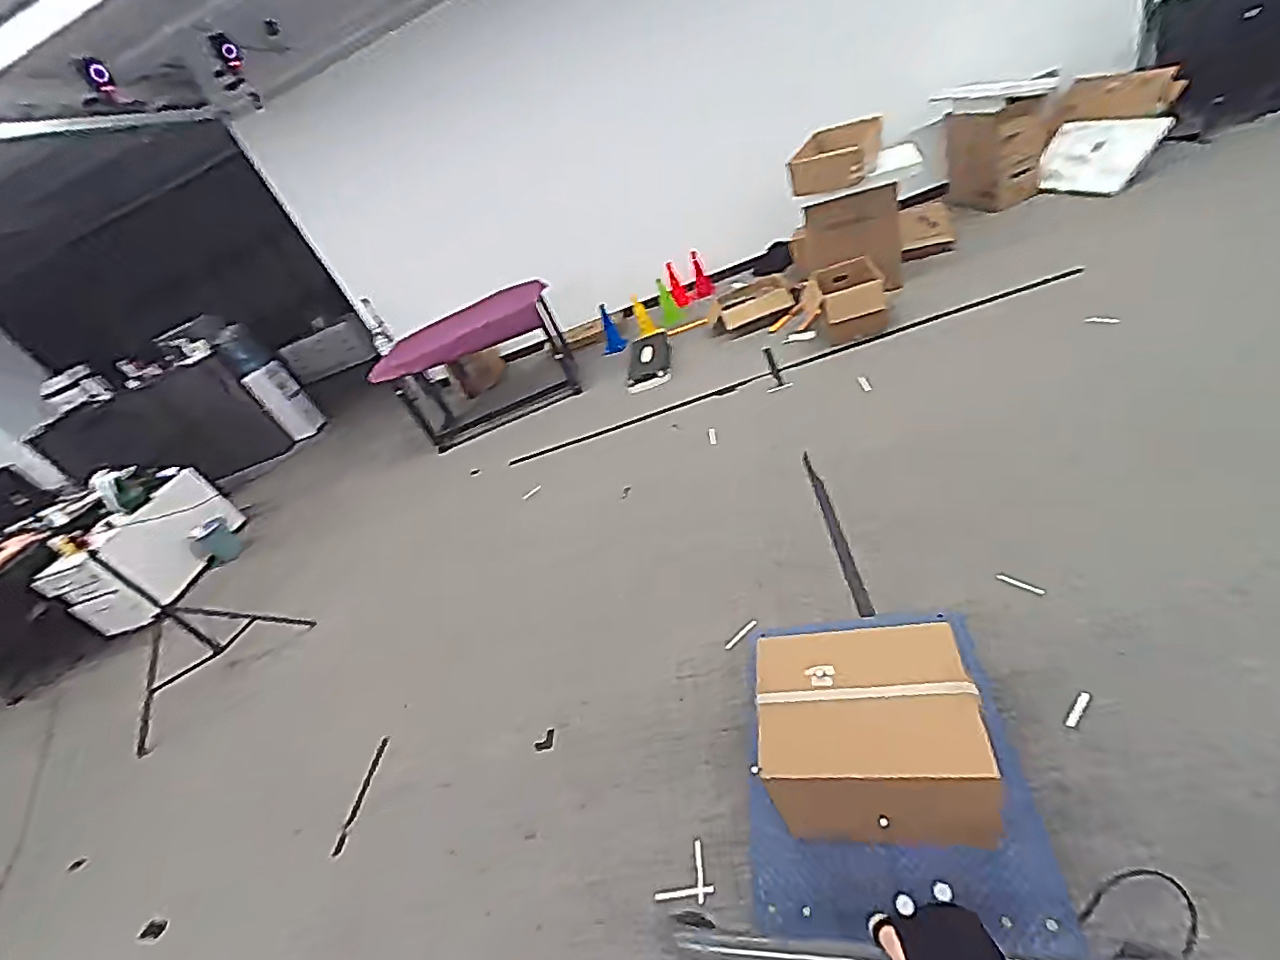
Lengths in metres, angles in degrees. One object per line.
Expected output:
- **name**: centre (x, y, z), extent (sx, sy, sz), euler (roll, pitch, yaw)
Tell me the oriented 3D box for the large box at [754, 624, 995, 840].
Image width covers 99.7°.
- **large box**: centre (0.487, 0.553, 1.172), extent (0.408, 0.320, 0.320), euler (-13, 34, 20)
